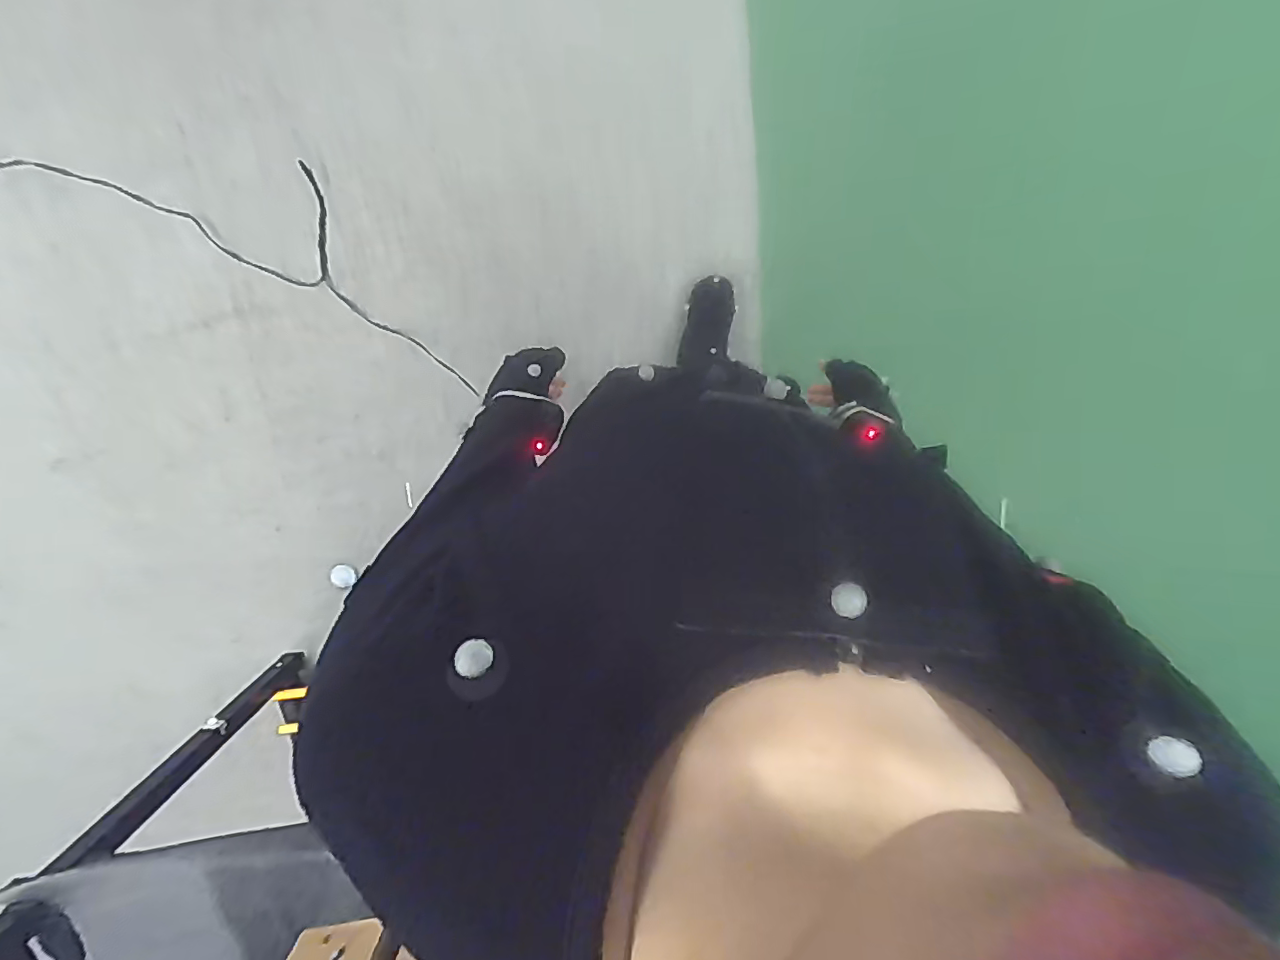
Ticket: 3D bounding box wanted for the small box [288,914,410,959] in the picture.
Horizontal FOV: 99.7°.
[{"bbox_3d":[-0.499,0.879,0.902,0.168,0.176,0.179,-12,105,3],"label":"small box"}]
